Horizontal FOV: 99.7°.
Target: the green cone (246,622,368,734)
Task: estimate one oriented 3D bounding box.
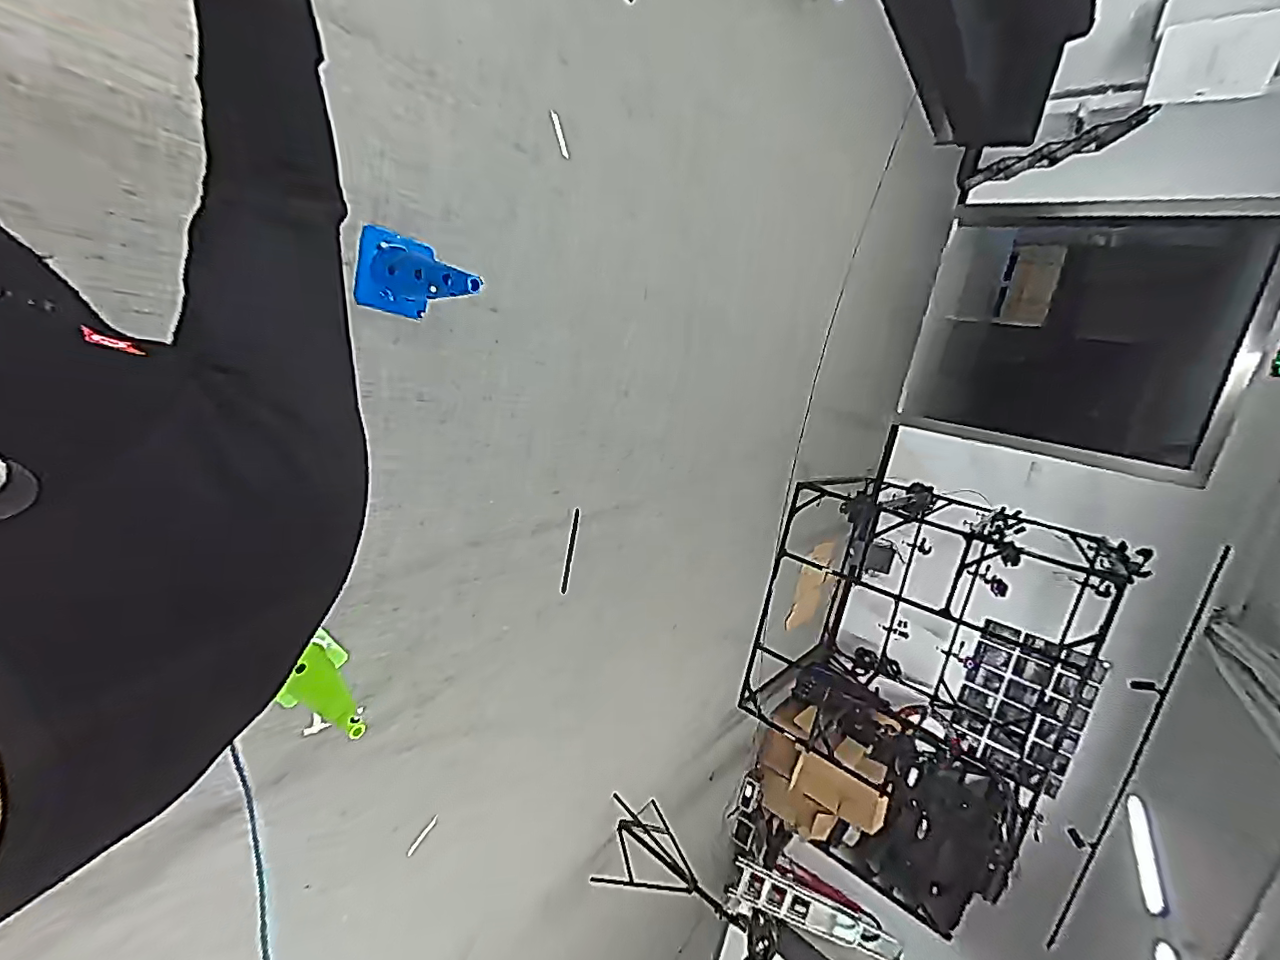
[{"bbox_3d":[-0.840,0.573,1.445,0.202,0.368,0.200,-46,139,-32],"label":"green cone"}]

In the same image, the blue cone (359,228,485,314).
[{"bbox_3d":[-0.527,-0.511,1.360,0.192,0.380,0.193,2,105,-55],"label":"blue cone"}]
